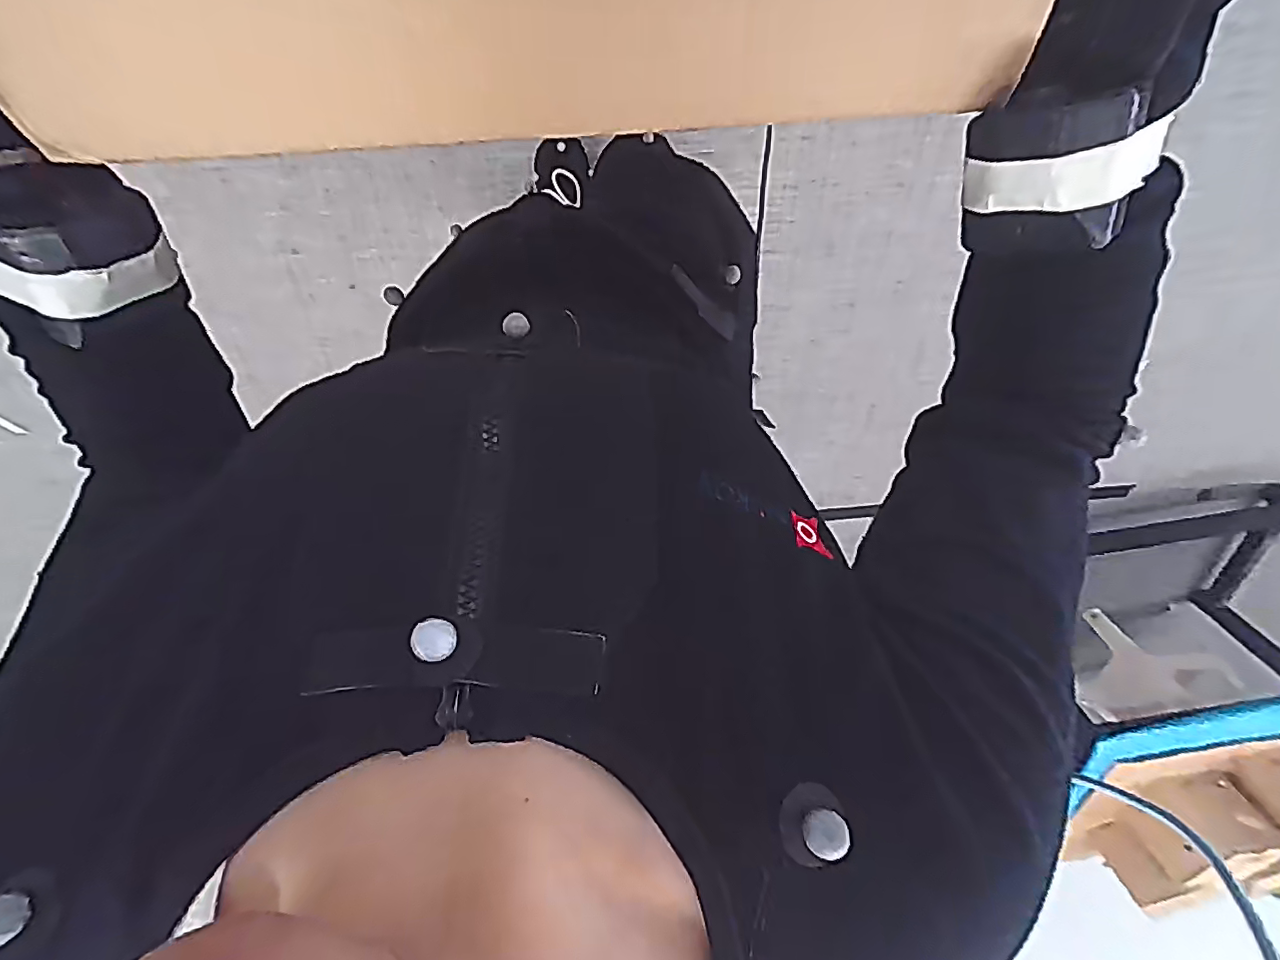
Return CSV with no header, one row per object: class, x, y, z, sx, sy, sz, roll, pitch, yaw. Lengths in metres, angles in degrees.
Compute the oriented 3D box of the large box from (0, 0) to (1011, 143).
large box,-0.061,-0.370,0.199,0.408,0.320,0.320,-4,143,-1
